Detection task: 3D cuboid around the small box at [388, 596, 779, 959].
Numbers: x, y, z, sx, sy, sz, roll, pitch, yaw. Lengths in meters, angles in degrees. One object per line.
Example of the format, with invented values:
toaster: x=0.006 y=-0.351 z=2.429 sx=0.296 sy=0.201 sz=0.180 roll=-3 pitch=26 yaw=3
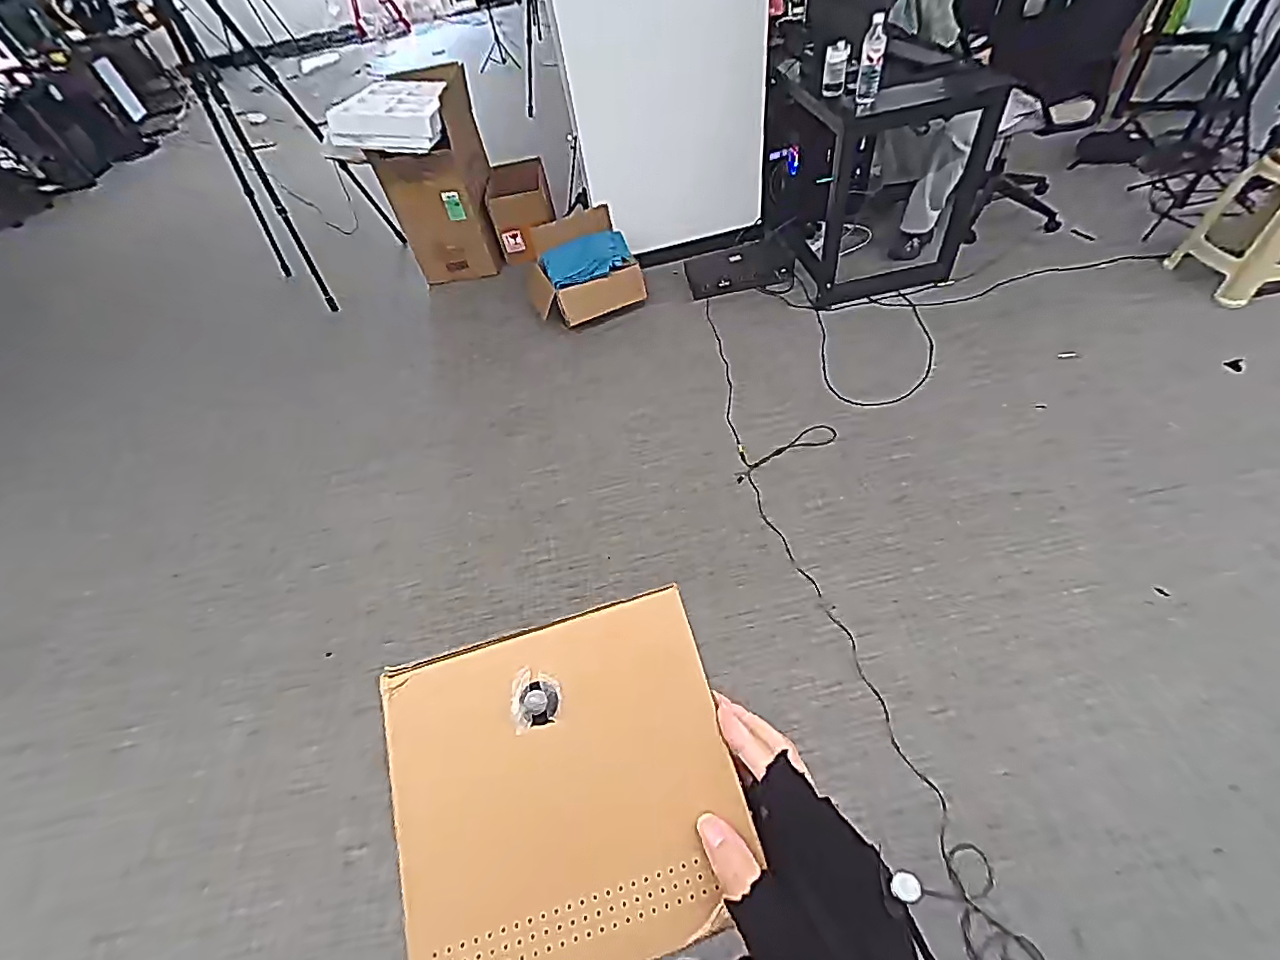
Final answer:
small box: x=-0.035 y=0.194 z=0.351 sx=0.179 sy=0.168 sz=0.176 roll=-15 pitch=68 yaw=-5
